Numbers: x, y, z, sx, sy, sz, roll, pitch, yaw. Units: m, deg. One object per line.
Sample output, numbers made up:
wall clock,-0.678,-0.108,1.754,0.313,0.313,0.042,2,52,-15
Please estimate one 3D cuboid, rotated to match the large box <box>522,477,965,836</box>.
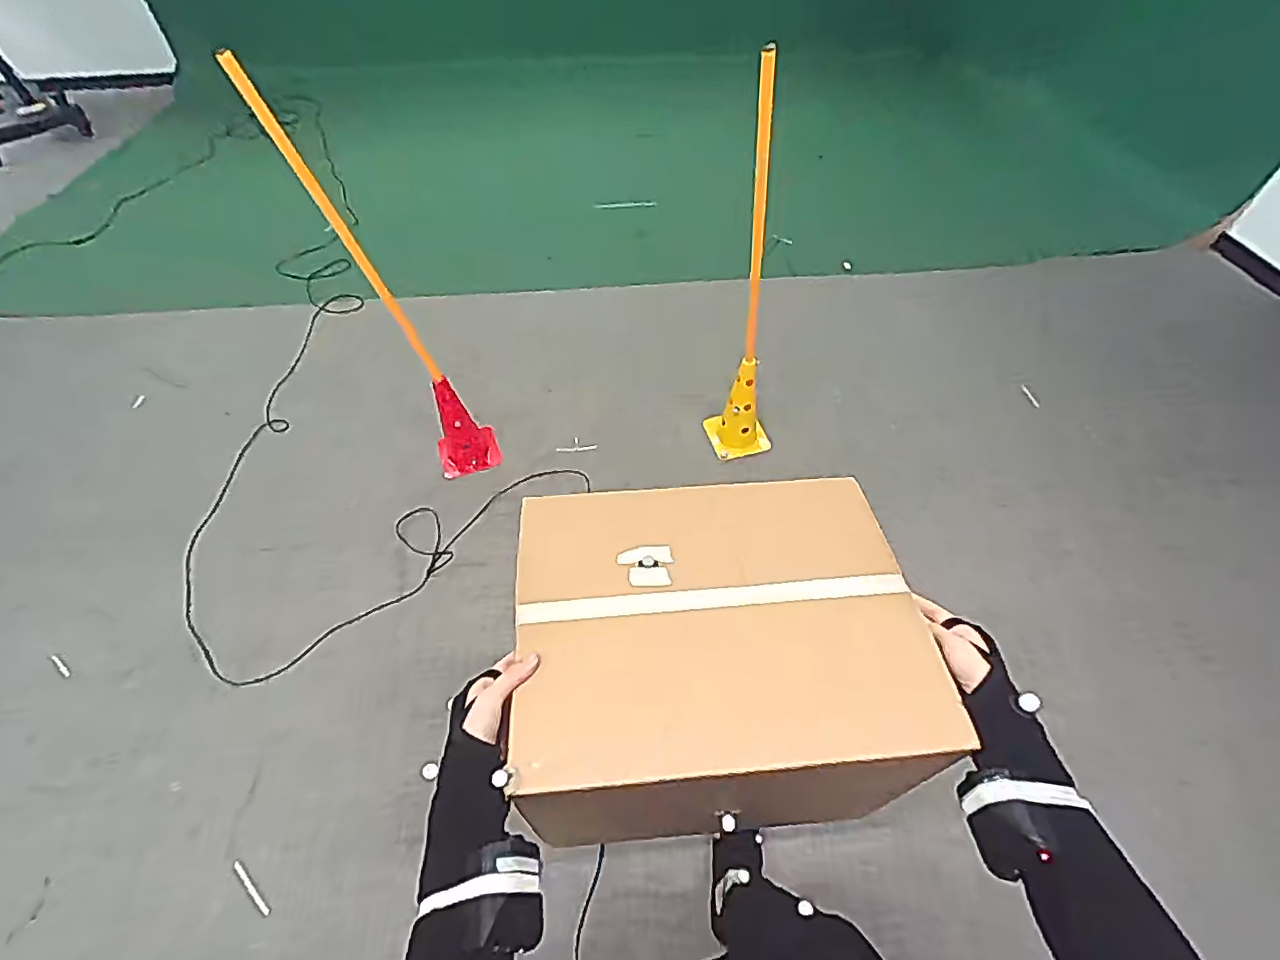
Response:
large box,0.085,0.225,0.678,0.408,0.320,0.320,-5,49,-3
